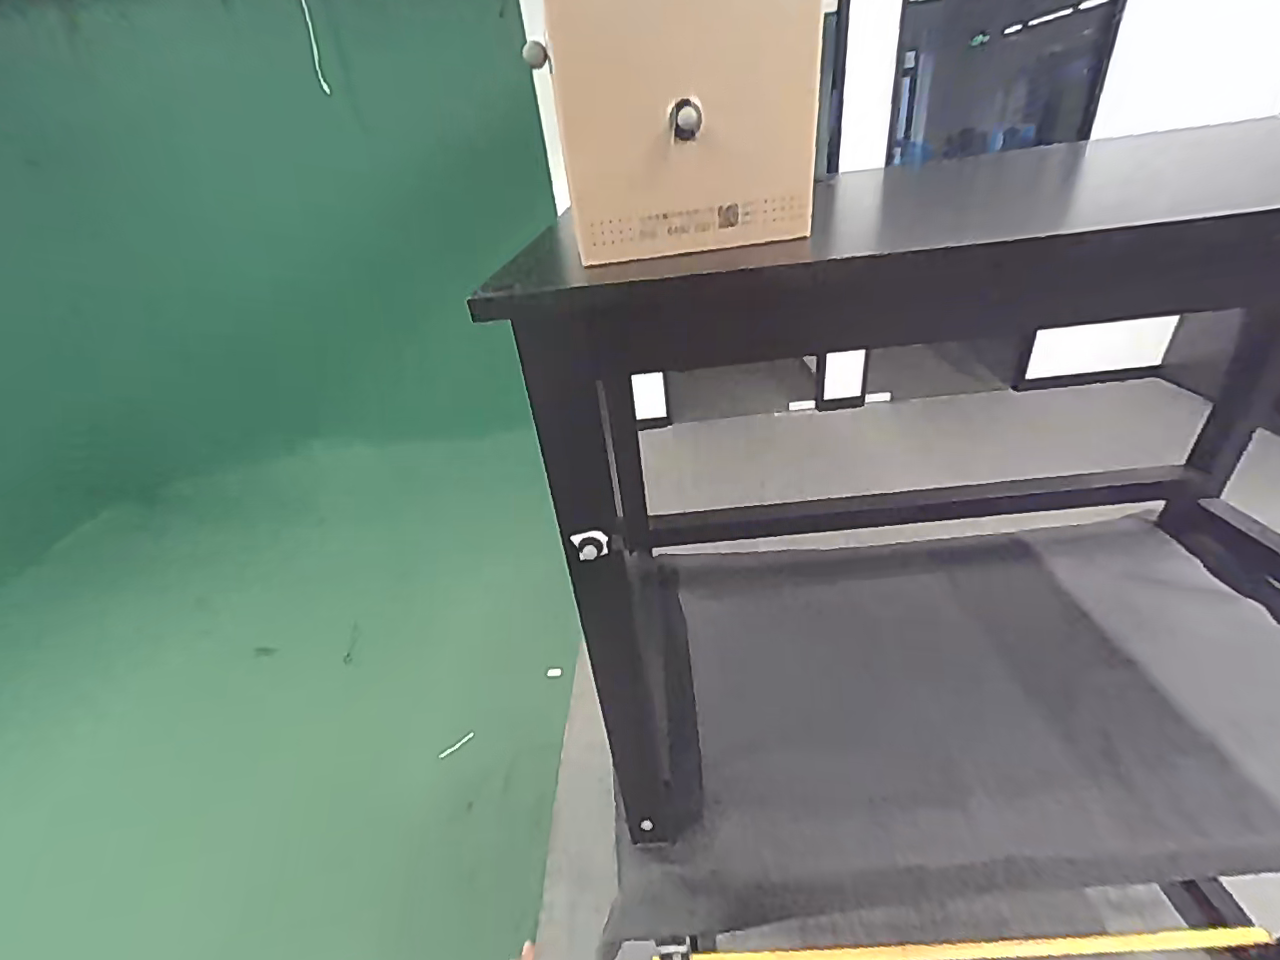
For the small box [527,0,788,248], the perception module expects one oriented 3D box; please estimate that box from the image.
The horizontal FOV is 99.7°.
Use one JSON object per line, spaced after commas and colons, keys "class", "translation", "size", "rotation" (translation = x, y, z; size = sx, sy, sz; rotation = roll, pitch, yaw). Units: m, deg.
{"class": "small box", "translation": [0.012, -0.285, 0.423], "size": [0.168, 0.176, 0.179], "rotation": [-8, 31, -3]}
